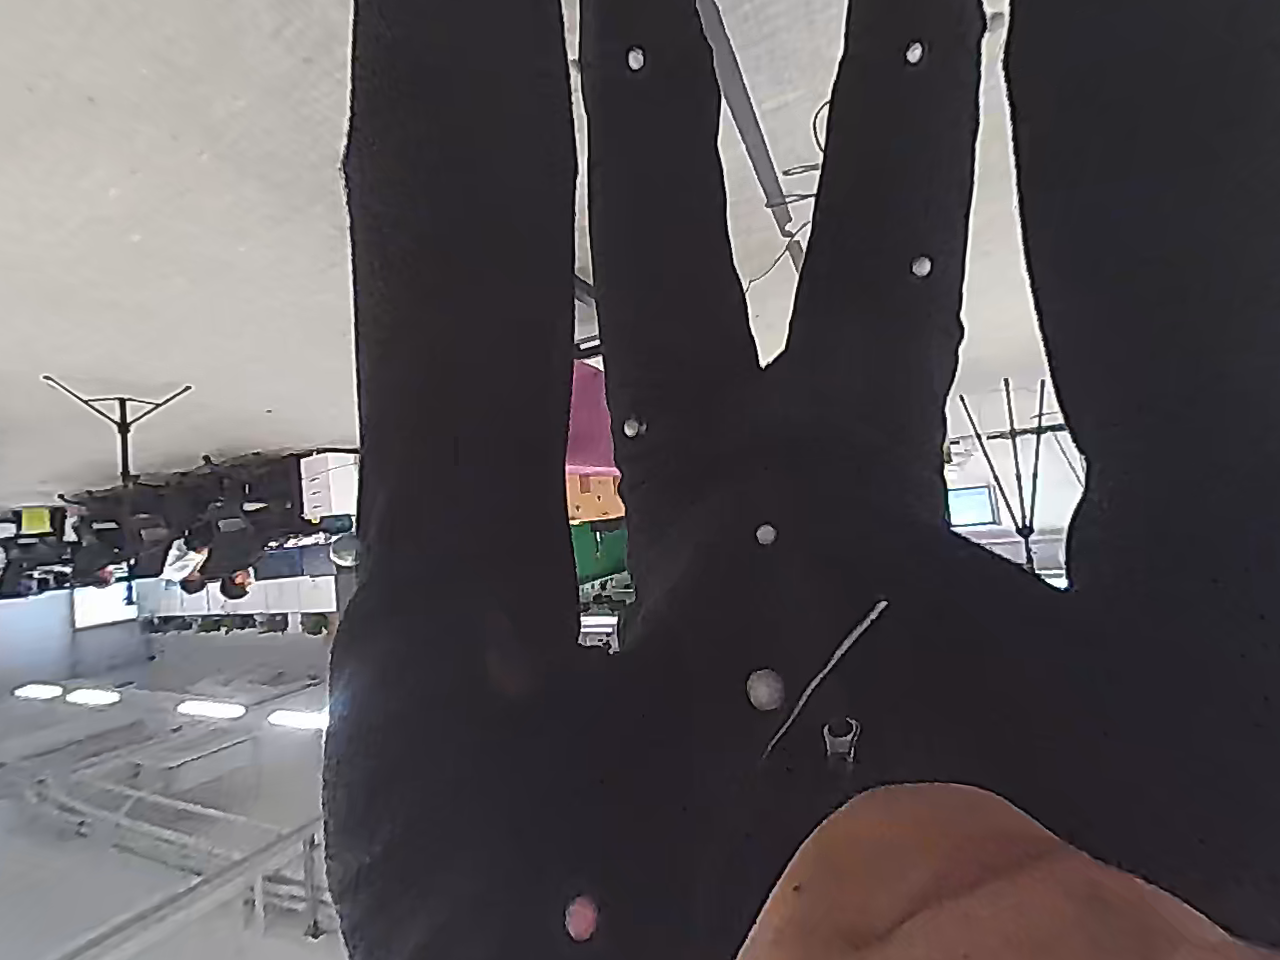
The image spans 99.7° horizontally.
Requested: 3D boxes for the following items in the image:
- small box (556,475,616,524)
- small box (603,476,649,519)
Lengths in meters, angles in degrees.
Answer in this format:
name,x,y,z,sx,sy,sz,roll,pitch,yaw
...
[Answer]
name,x,y,z,sx,sy,sz,roll,pitch,yaw
small box,-0.214,0.074,2.122,0.179,0.176,0.168,-8,176,28
small box,-0.082,0.076,2.358,0.179,0.176,0.168,-9,176,35
